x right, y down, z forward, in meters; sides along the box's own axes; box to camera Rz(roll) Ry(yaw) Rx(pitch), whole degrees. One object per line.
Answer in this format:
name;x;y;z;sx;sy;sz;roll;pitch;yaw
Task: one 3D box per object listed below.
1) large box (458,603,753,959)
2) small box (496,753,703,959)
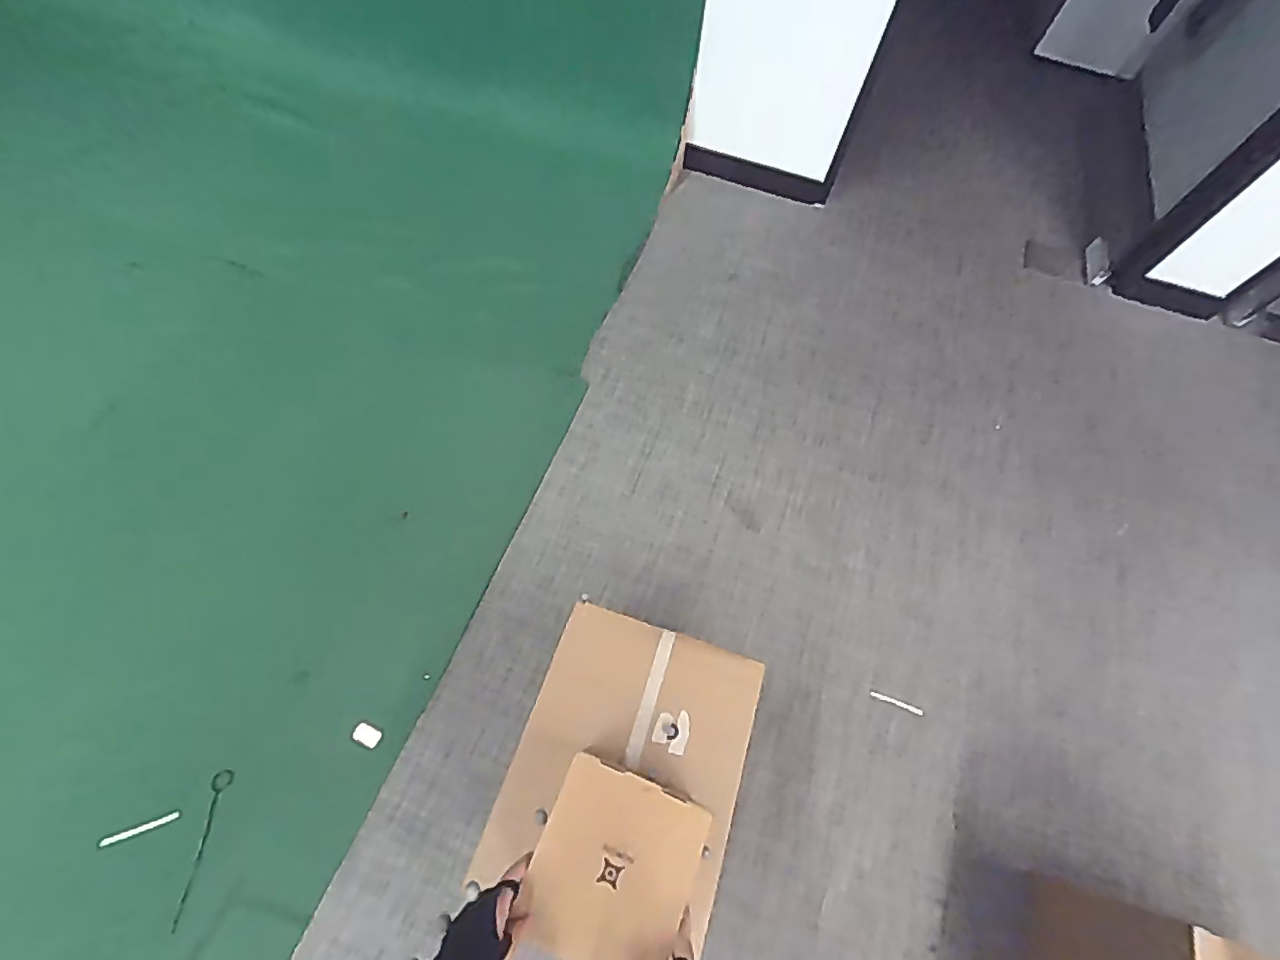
large box;-0.038;0.476;0.889;0.320;0.320;0.408;19;63;5
small box;-0.040;0.444;0.632;0.168;0.176;0.179;21;63;8
